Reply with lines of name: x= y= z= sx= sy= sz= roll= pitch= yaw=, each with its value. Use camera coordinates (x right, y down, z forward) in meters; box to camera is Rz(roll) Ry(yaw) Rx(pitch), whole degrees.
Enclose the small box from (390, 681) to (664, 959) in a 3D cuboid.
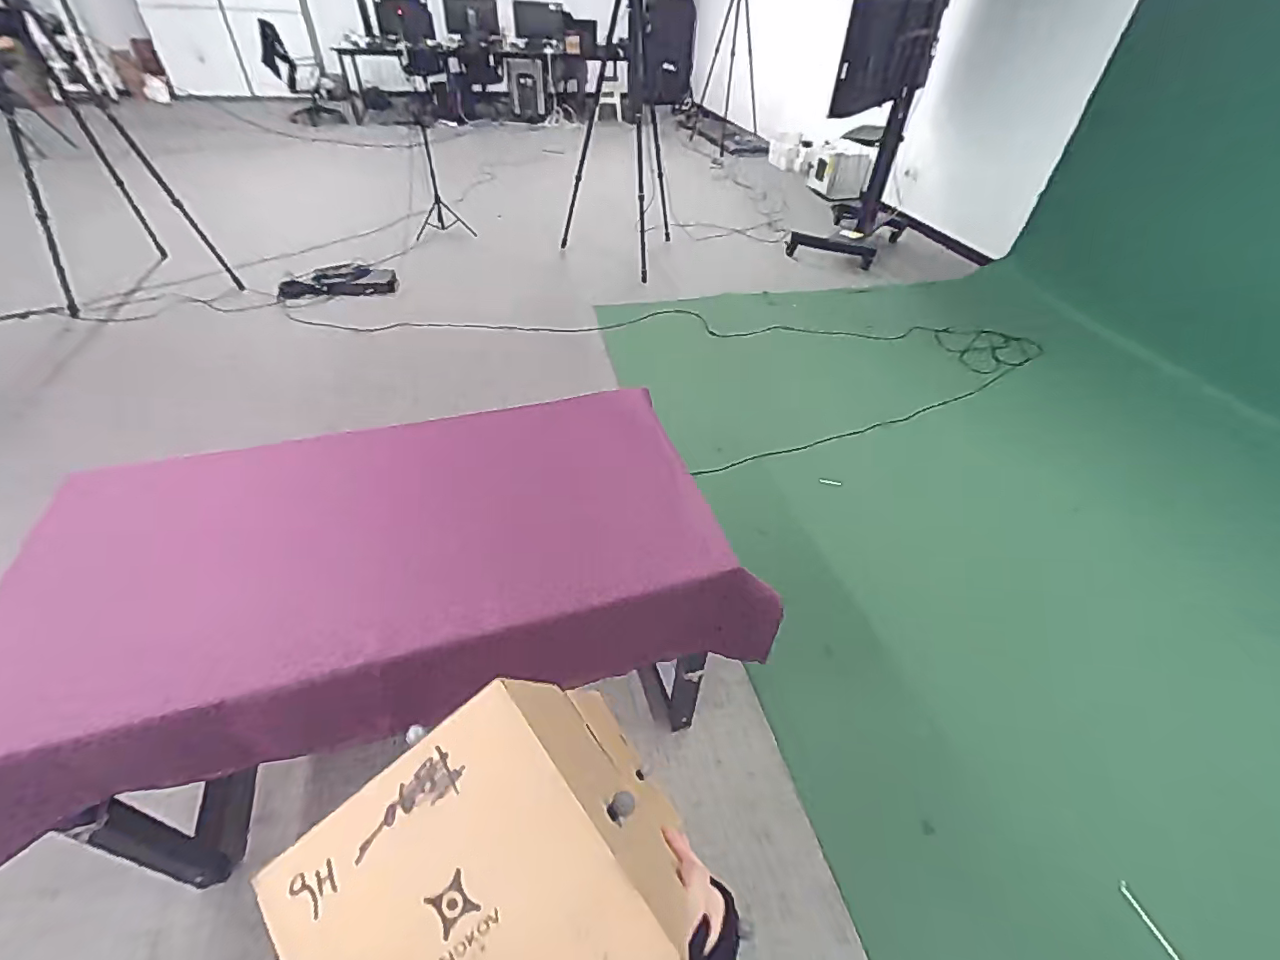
small box: x=-0.090 y=0.316 z=0.513 sx=0.179 sy=0.176 sz=0.168 roll=-35 pitch=70 yaw=-10
